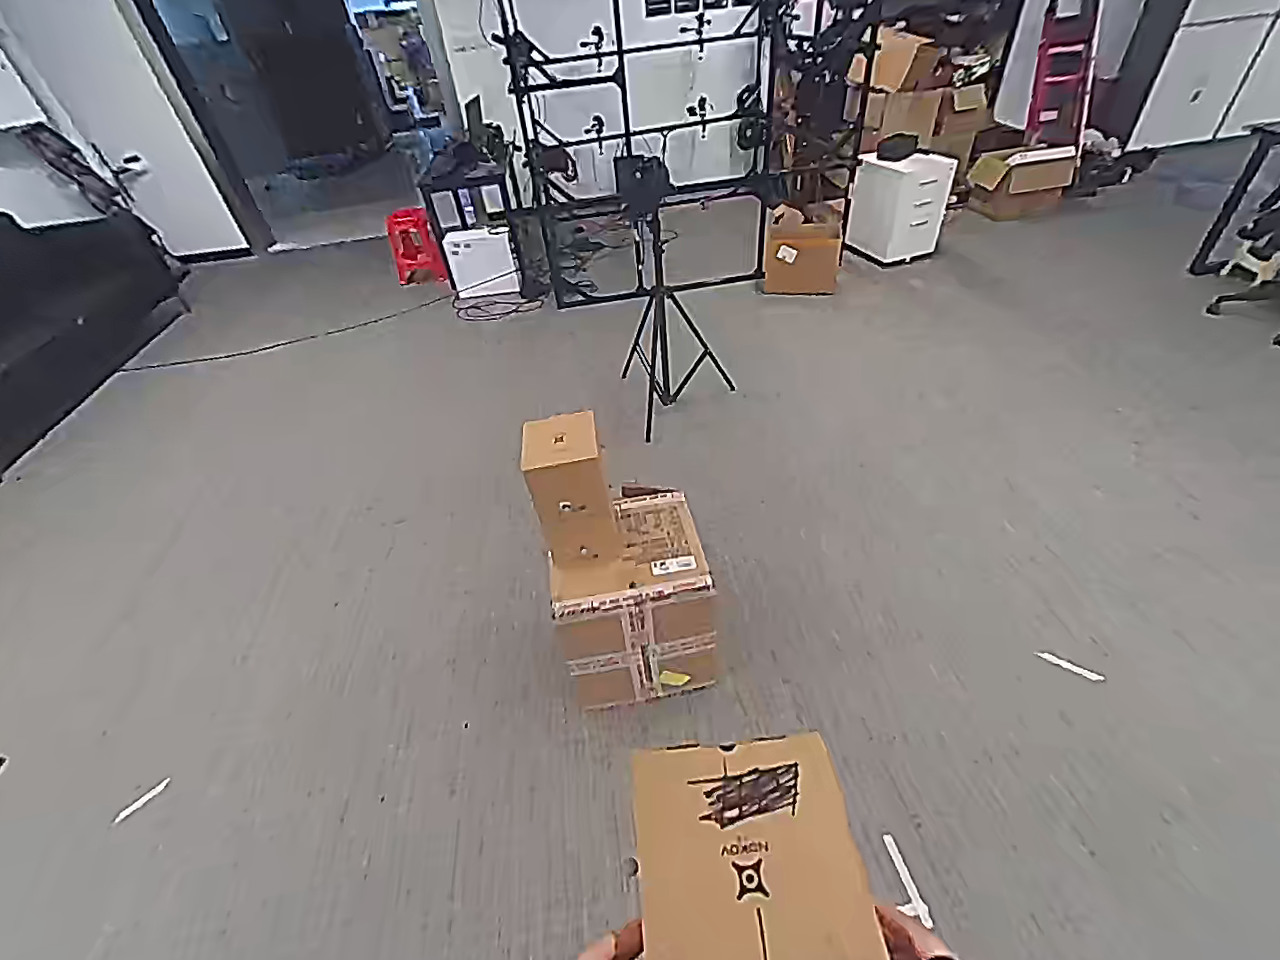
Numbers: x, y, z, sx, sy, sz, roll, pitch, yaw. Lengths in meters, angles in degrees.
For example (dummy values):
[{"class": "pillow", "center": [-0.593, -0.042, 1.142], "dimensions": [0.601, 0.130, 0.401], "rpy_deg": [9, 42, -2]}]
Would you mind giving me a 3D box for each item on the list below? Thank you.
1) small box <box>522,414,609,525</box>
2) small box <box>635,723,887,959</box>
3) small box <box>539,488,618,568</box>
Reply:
[{"class": "small box", "center": [-0.169, -0.024, 1.246], "dimensions": [0.168, 0.176, 0.179], "rpy_deg": [-11, 43, -1]}, {"class": "small box", "center": [0.083, 0.337, 0.469], "dimensions": [0.168, 0.176, 0.179], "rpy_deg": [-5, 46, -2]}, {"class": "small box", "center": [-0.154, 0.094, 1.357], "dimensions": [0.168, 0.176, 0.179], "rpy_deg": [-11, 43, -2]}]
